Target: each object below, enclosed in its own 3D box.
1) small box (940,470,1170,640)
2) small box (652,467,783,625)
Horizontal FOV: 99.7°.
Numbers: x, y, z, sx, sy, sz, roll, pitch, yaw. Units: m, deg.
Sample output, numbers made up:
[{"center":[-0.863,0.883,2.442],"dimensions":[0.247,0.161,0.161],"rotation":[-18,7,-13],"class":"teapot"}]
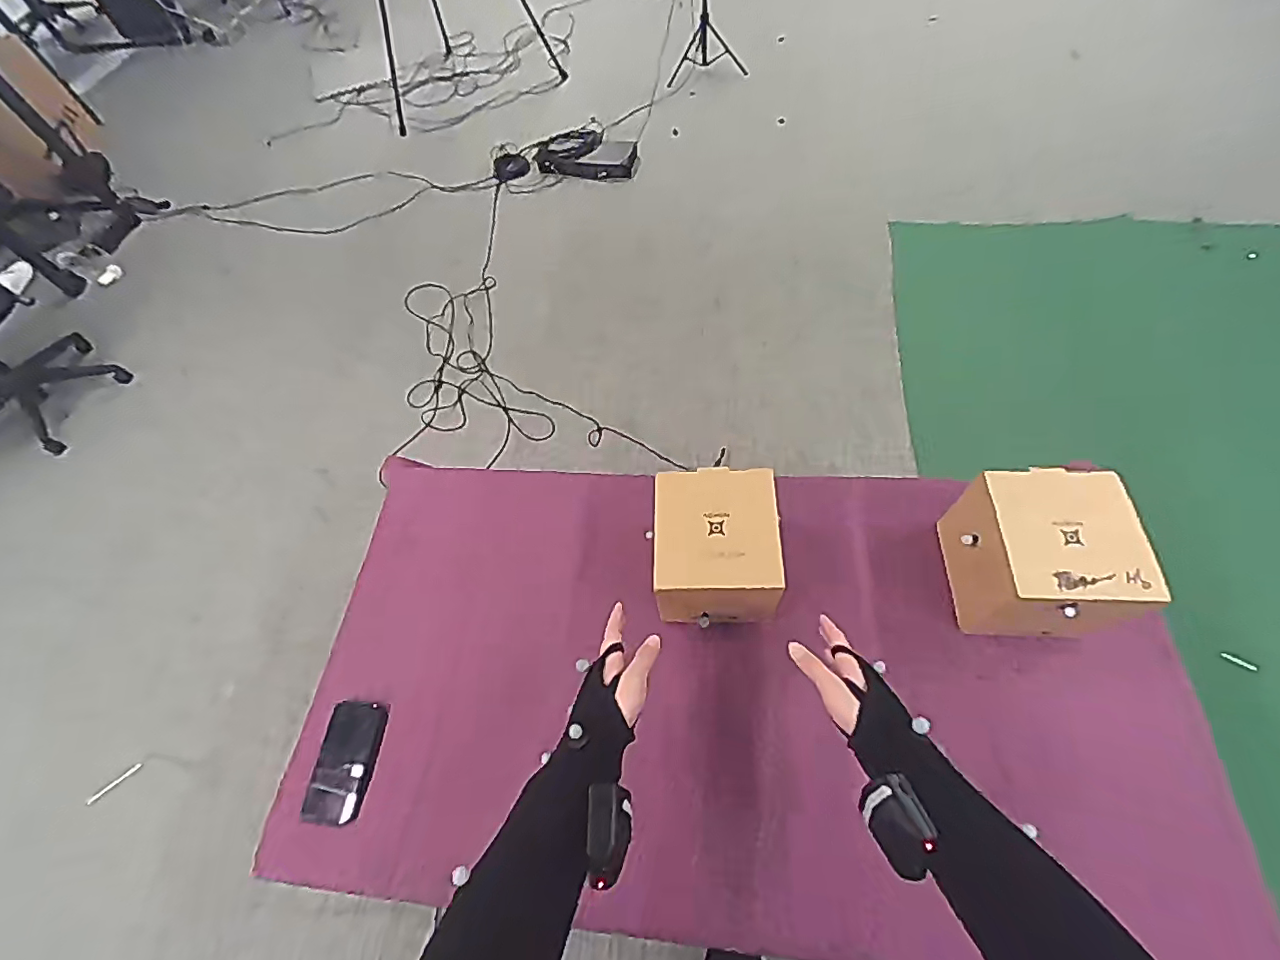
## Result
[{"center":[0.533,0.104,0.731],"dimensions":[0.168,0.176,0.179],"rotation":[0,59,7],"class":"small box"},{"center":[0.107,0.098,0.782],"dimensions":[0.168,0.176,0.179],"rotation":[-1,60,6],"class":"small box"}]
